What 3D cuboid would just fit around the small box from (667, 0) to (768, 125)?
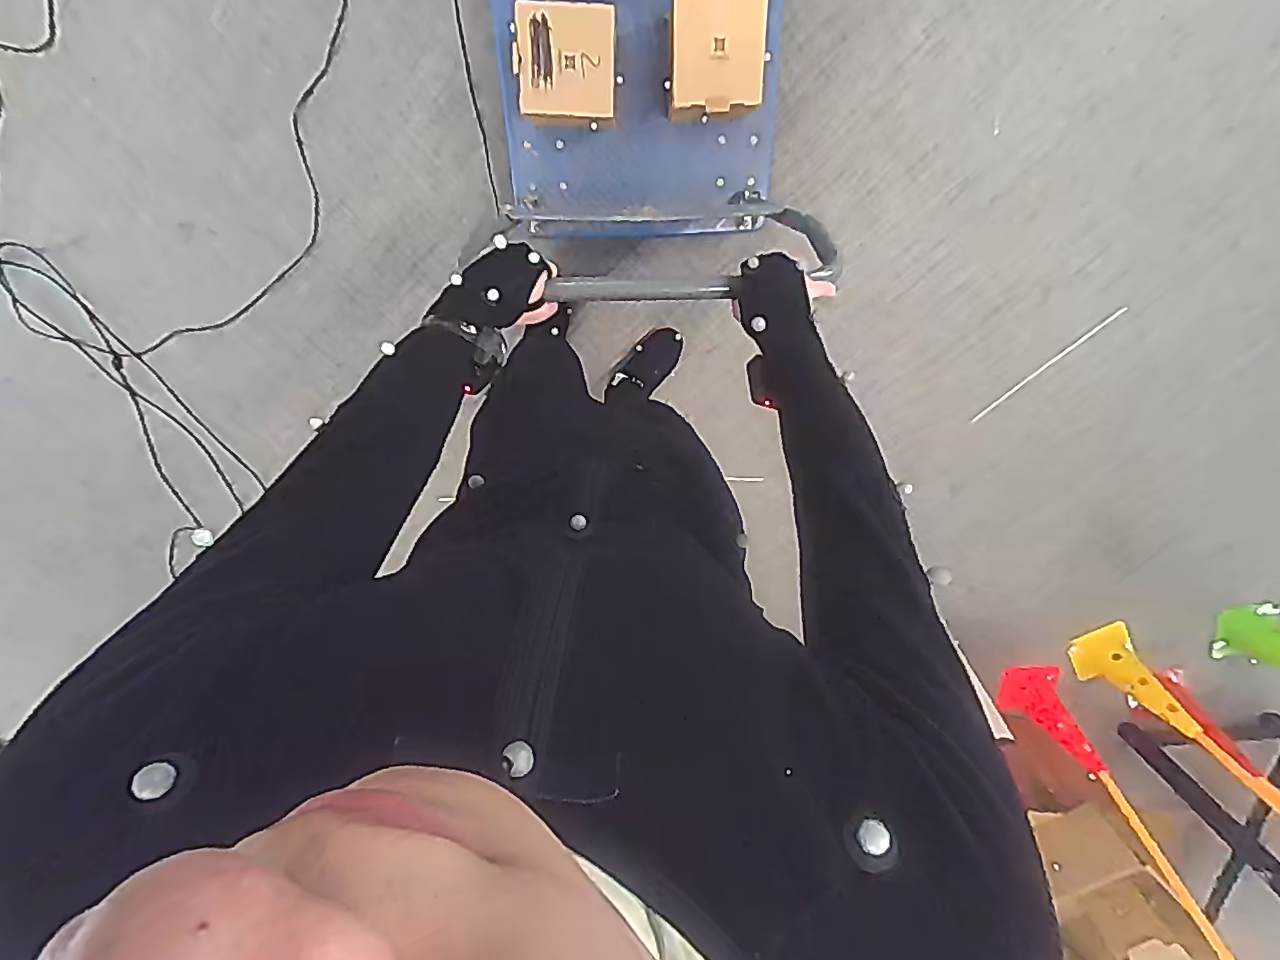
[{"bbox_3d":[0.139,-0.798,1.038,0.168,0.176,0.179,-1,118,0],"label":"small box"}]
